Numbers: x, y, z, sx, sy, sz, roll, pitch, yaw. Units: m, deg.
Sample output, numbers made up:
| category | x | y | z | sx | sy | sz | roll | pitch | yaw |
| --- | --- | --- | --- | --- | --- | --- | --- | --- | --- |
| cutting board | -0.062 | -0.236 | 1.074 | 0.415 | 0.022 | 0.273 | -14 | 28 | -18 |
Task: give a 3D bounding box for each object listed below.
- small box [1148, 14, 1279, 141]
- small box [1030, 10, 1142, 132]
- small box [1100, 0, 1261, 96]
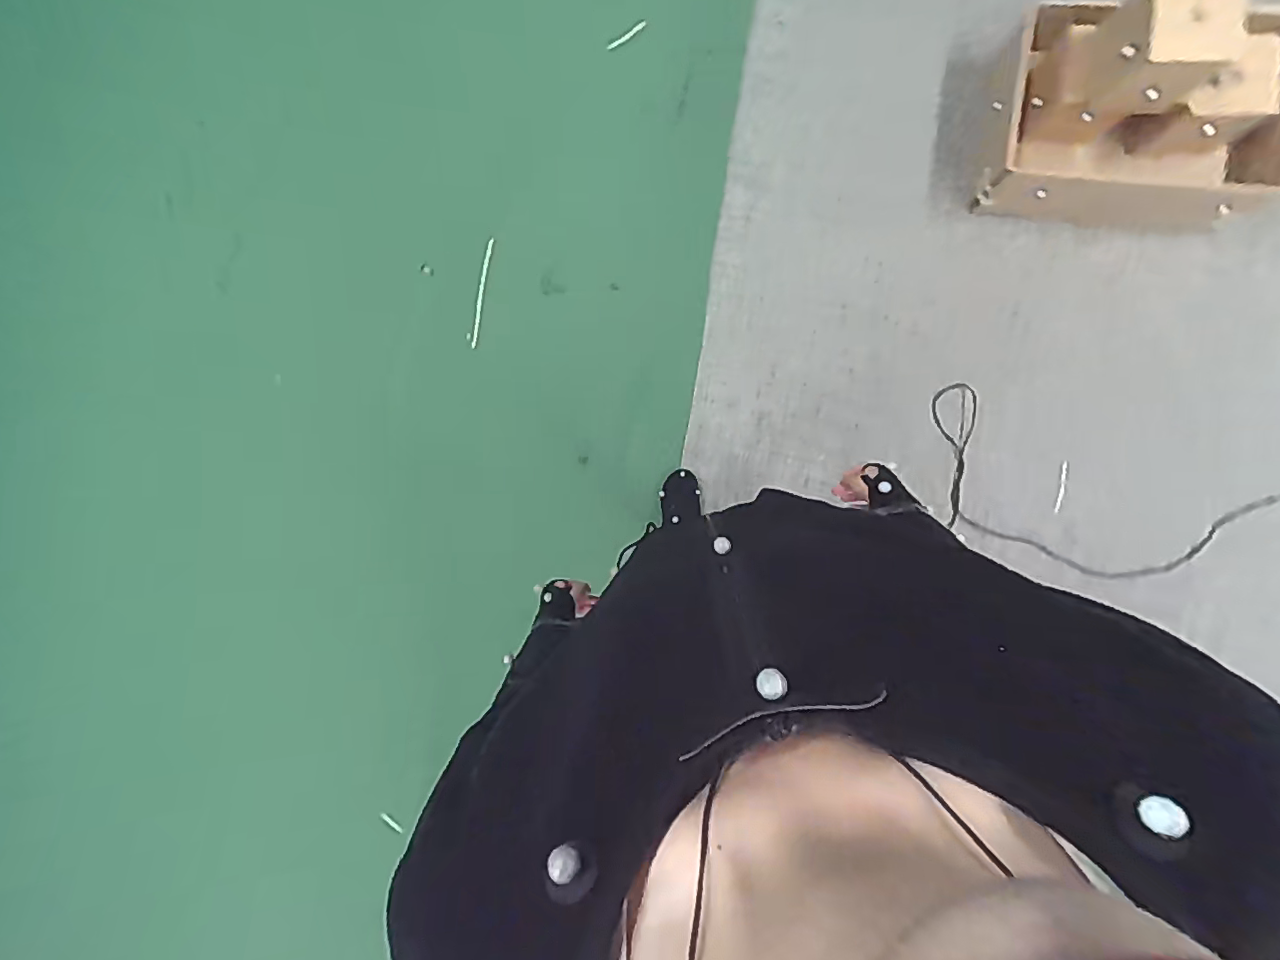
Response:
| category | x | y | z | sx | sy | sz | roll | pitch | yaw |
| --- | --- | --- | --- | --- | --- | --- | --- | --- | --- |
| small box | 1.307 | -0.897 | 1.221 | 0.179 | 0.176 | 0.168 | 1 | 92 | 8 |
| small box | 1.047 | -0.938 | 1.253 | 0.179 | 0.176 | 0.168 | 4 | 94 | 5 |
| small box | 1.075 | -0.908 | 1.087 | 0.168 | 0.176 | 0.179 | 2 | 93 | 5 |
